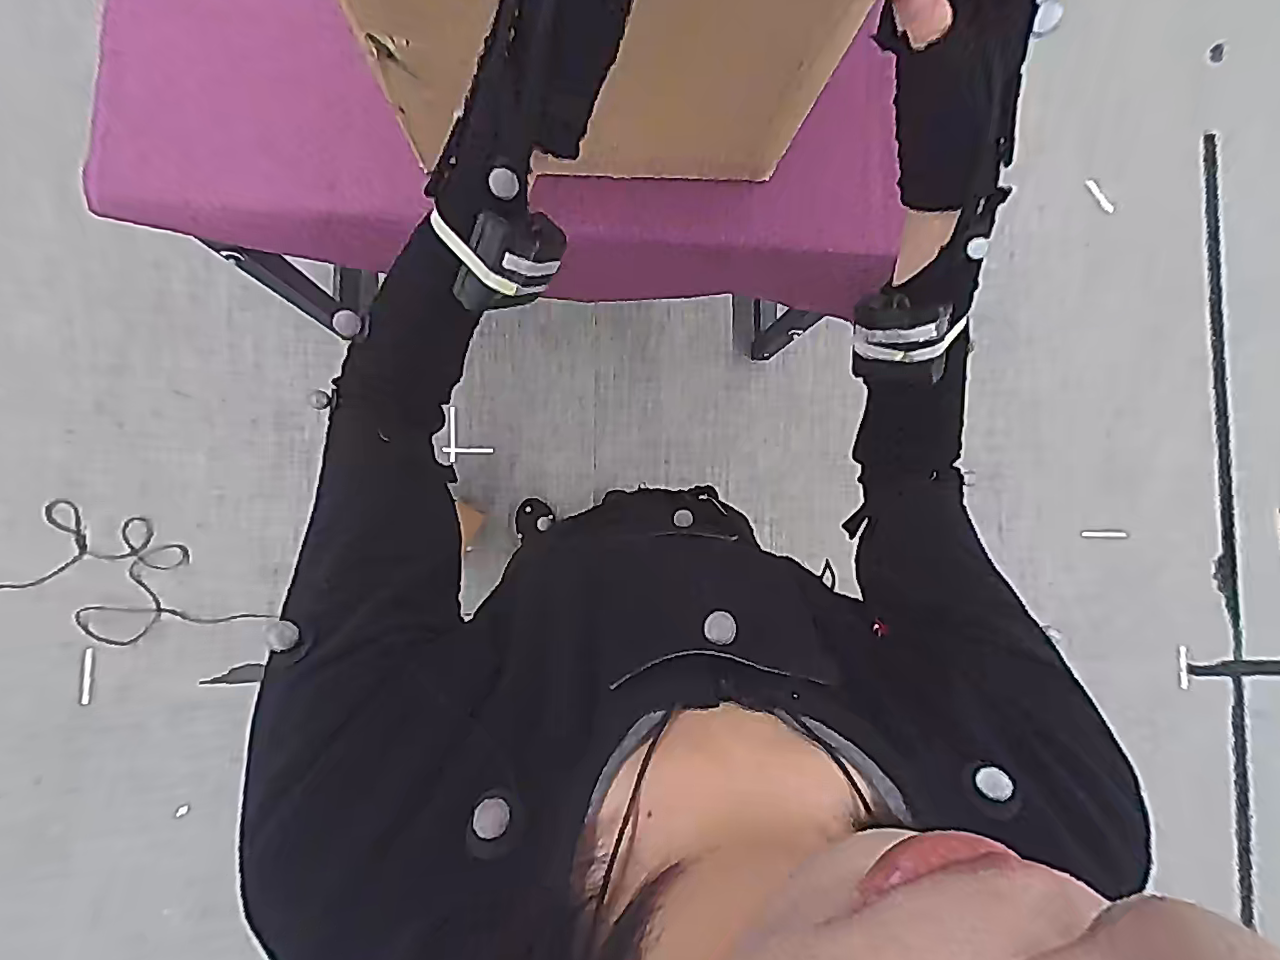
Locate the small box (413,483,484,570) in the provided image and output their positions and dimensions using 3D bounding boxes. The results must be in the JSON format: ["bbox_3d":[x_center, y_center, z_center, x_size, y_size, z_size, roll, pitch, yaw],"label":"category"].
[{"bbox_3d":[-0.524,0.125,1.379,0.179,0.176,0.168,32,84,-5],"label":"small box"}]
